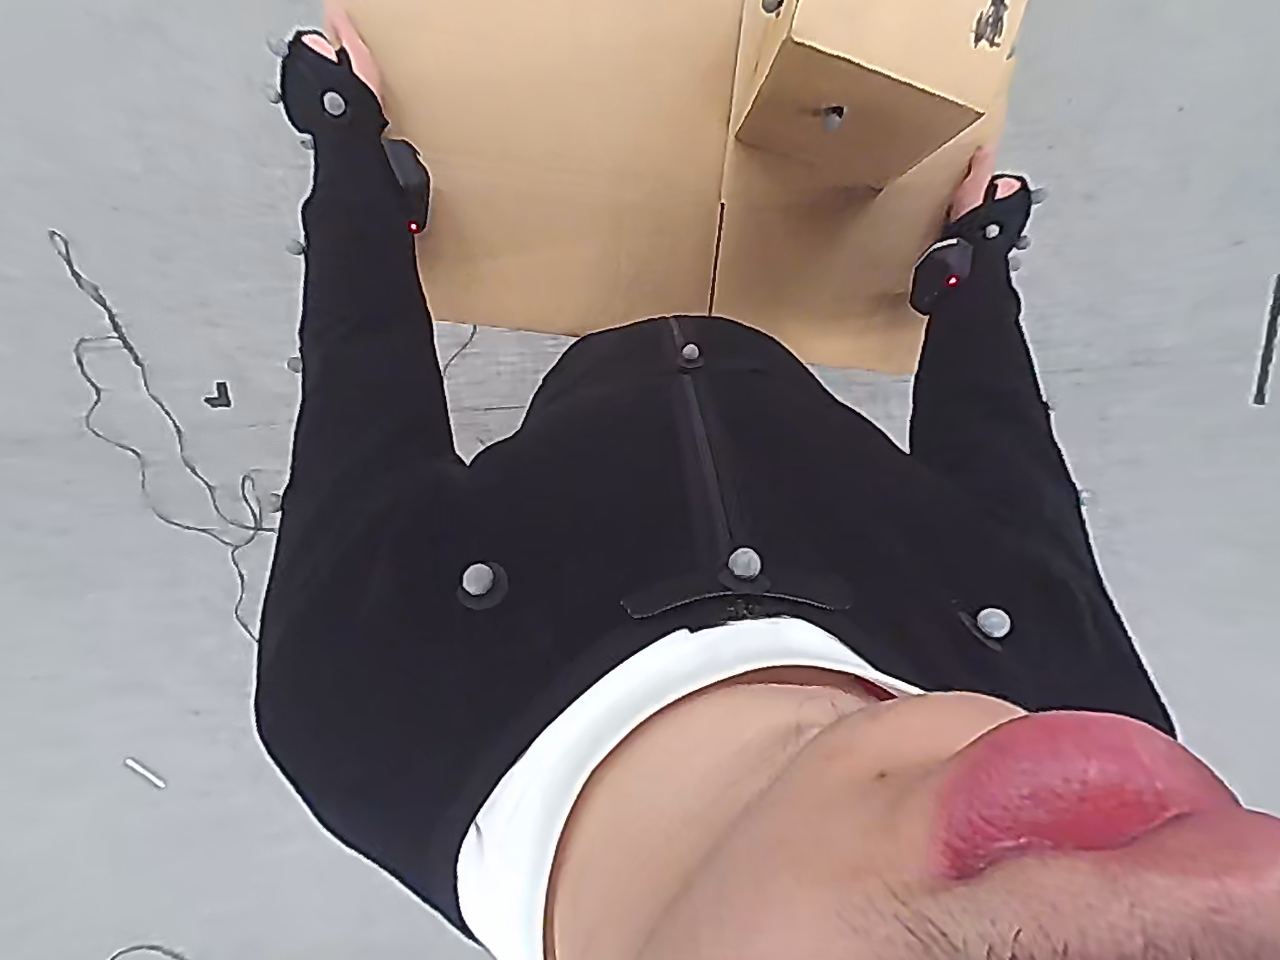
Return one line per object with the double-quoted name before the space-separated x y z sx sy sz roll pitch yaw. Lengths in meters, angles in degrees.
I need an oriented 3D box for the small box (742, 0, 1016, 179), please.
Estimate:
"small box" 0.211 -0.411 0.499 0.179 0.176 0.168 16 98 -5
